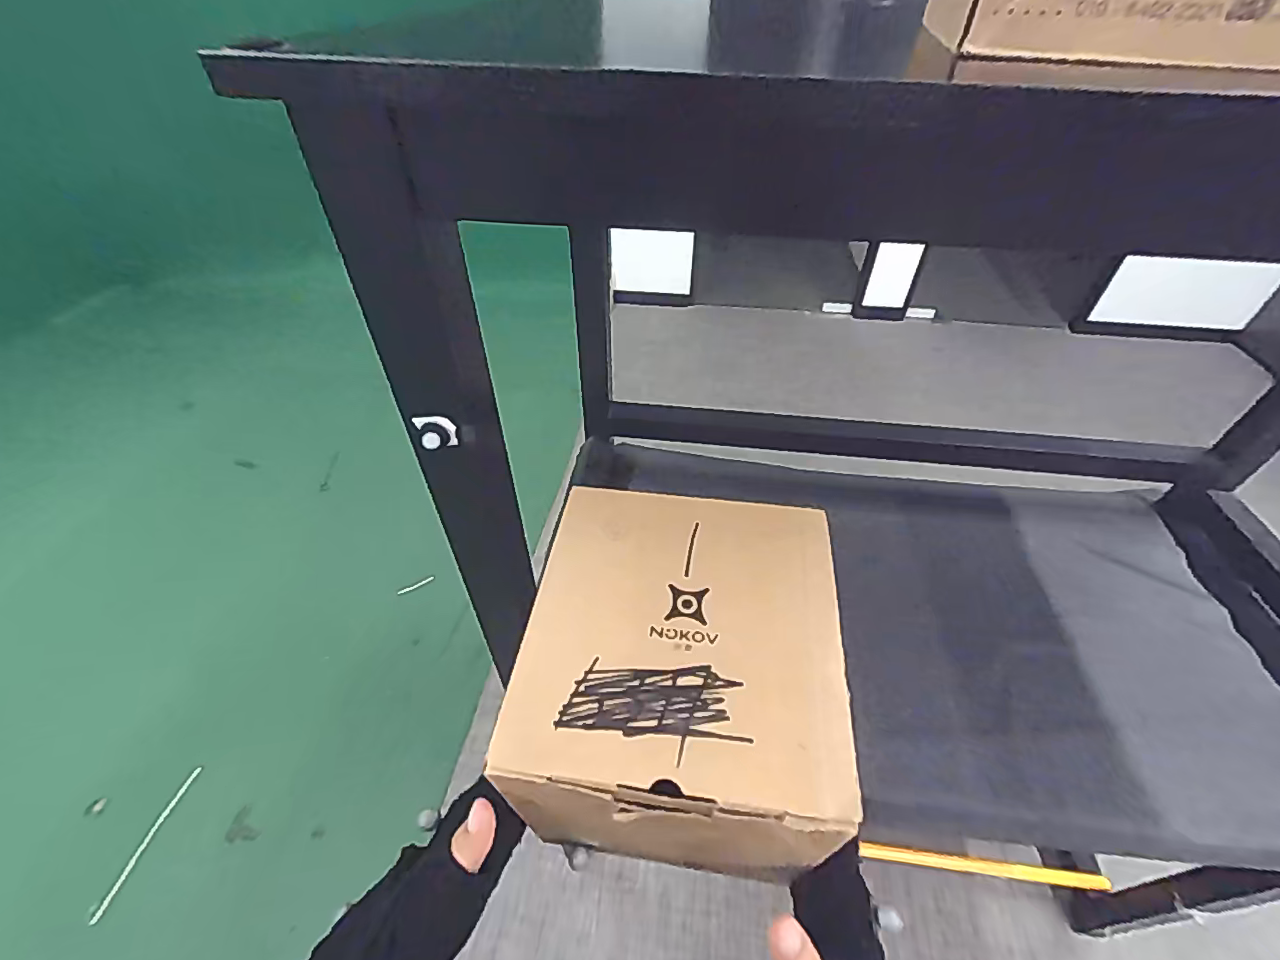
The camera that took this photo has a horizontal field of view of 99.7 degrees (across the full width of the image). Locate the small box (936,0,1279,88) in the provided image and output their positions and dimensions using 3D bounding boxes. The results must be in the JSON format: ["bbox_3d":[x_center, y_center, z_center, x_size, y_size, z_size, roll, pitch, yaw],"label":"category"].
[{"bbox_3d":[0.256,-0.299,0.245,0.168,0.176,0.179,12,45,11],"label":"small box"}]
